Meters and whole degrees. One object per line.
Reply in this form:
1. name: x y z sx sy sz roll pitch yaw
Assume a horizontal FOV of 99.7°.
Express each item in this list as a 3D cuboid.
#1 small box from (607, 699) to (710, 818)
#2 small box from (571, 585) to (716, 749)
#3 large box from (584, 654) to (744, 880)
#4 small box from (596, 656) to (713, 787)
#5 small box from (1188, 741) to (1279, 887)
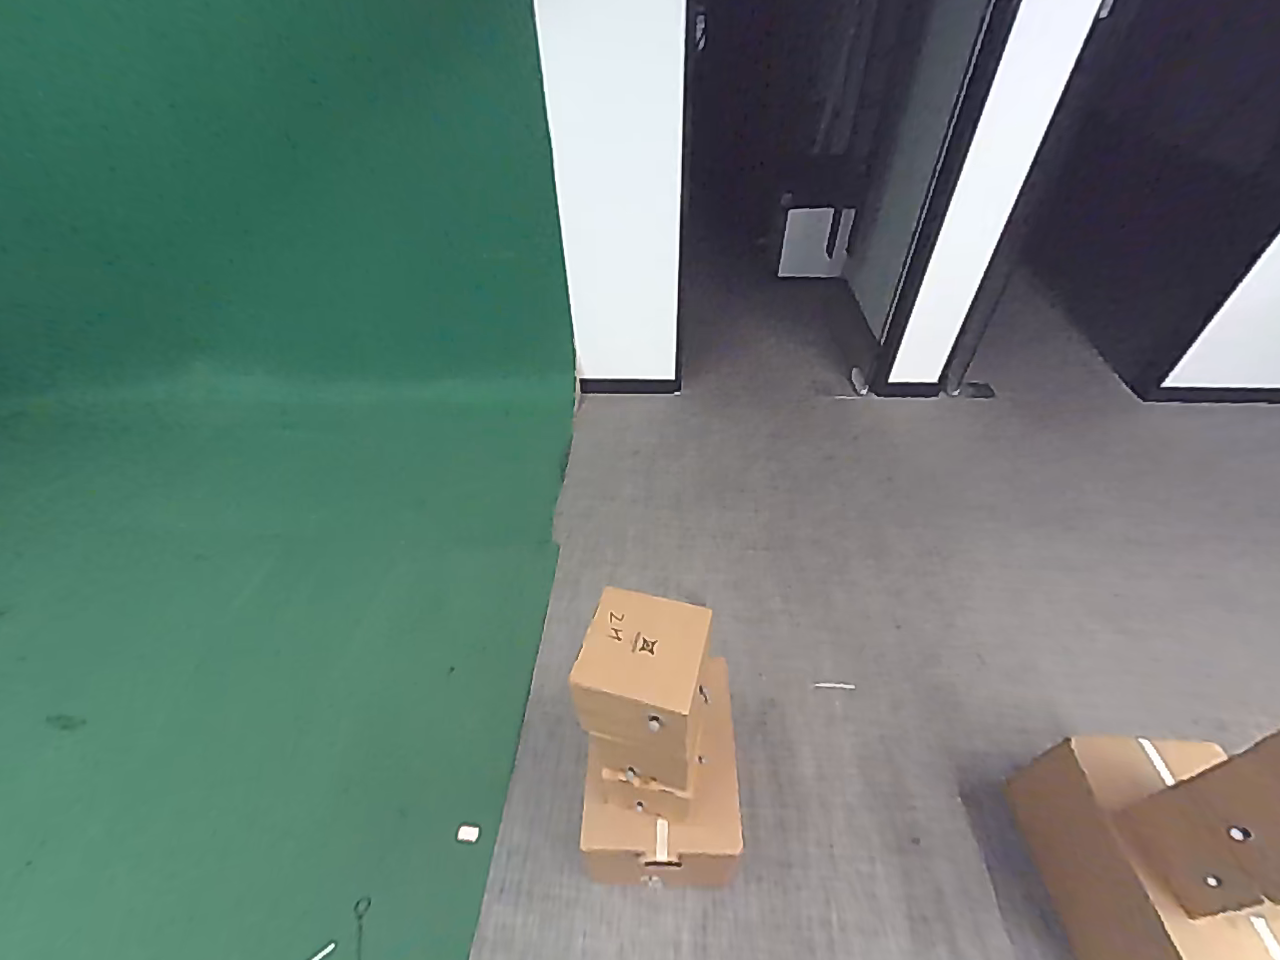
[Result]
1. small box: 0.040 0.531 1.065 0.168 0.176 0.179 8 46 11
2. small box: 0.014 0.294 0.841 0.179 0.176 0.168 10 46 14
3. large box: 0.056 0.669 1.271 0.320 0.320 0.408 0 43 3
4. small box: 0.029 0.408 0.959 0.168 0.176 0.179 10 47 14
5. small box: 1.020 0.505 0.817 0.168 0.176 0.179 -6 45 -2
